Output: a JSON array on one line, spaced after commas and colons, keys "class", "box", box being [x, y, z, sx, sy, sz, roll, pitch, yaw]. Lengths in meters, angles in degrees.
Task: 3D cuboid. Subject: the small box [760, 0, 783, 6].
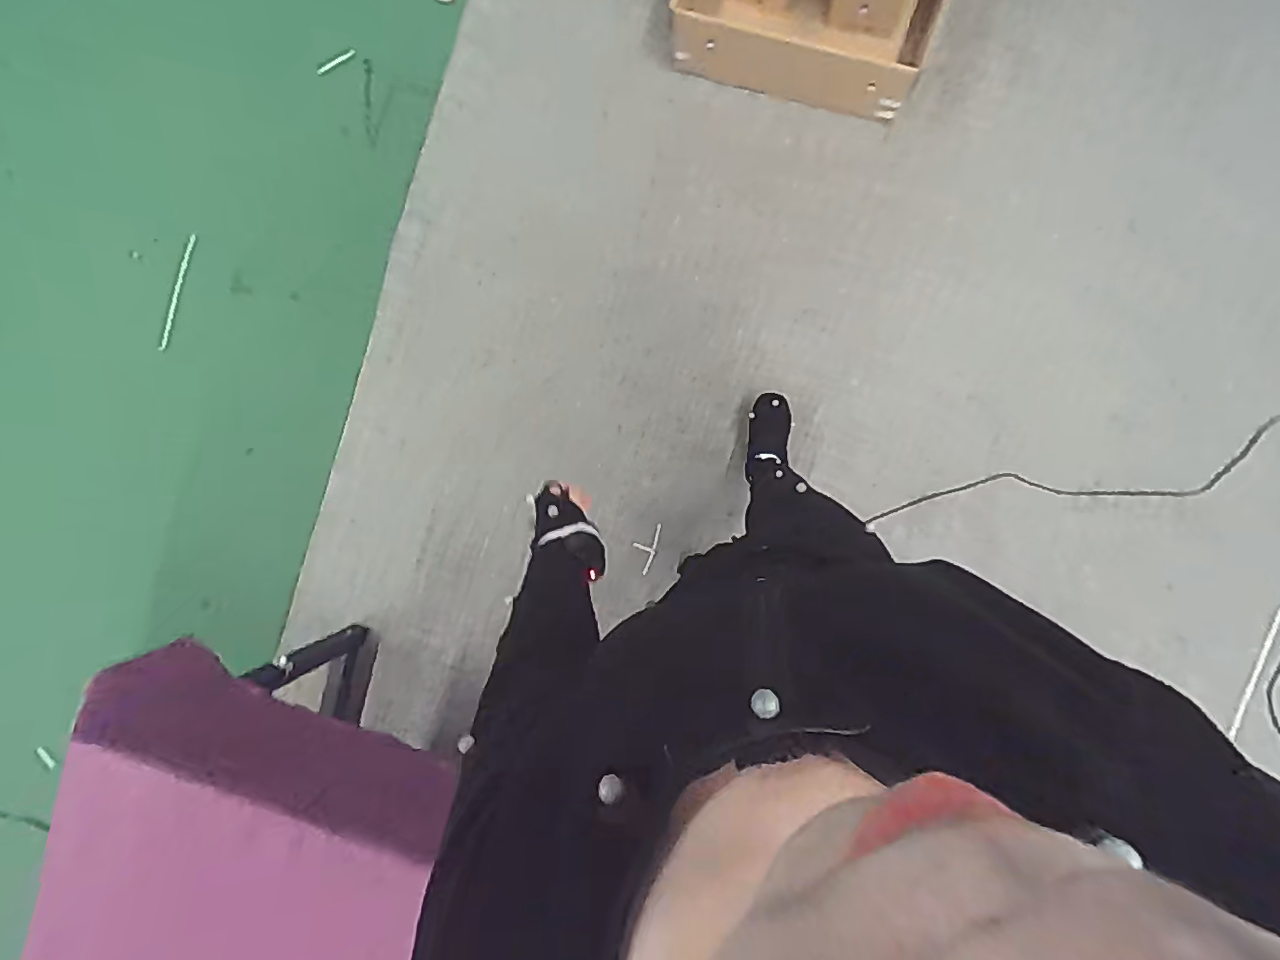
[{"class": "small box", "box": [0.306, -1.306, 1.300, 0.168, 0.176, 0.179, 22, 95, 5]}]

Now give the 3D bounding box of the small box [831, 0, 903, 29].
[{"class": "small box", "box": [0.564, -1.219, 1.270, 0.168, 0.176, 0.179, 18, 95, 6]}]
